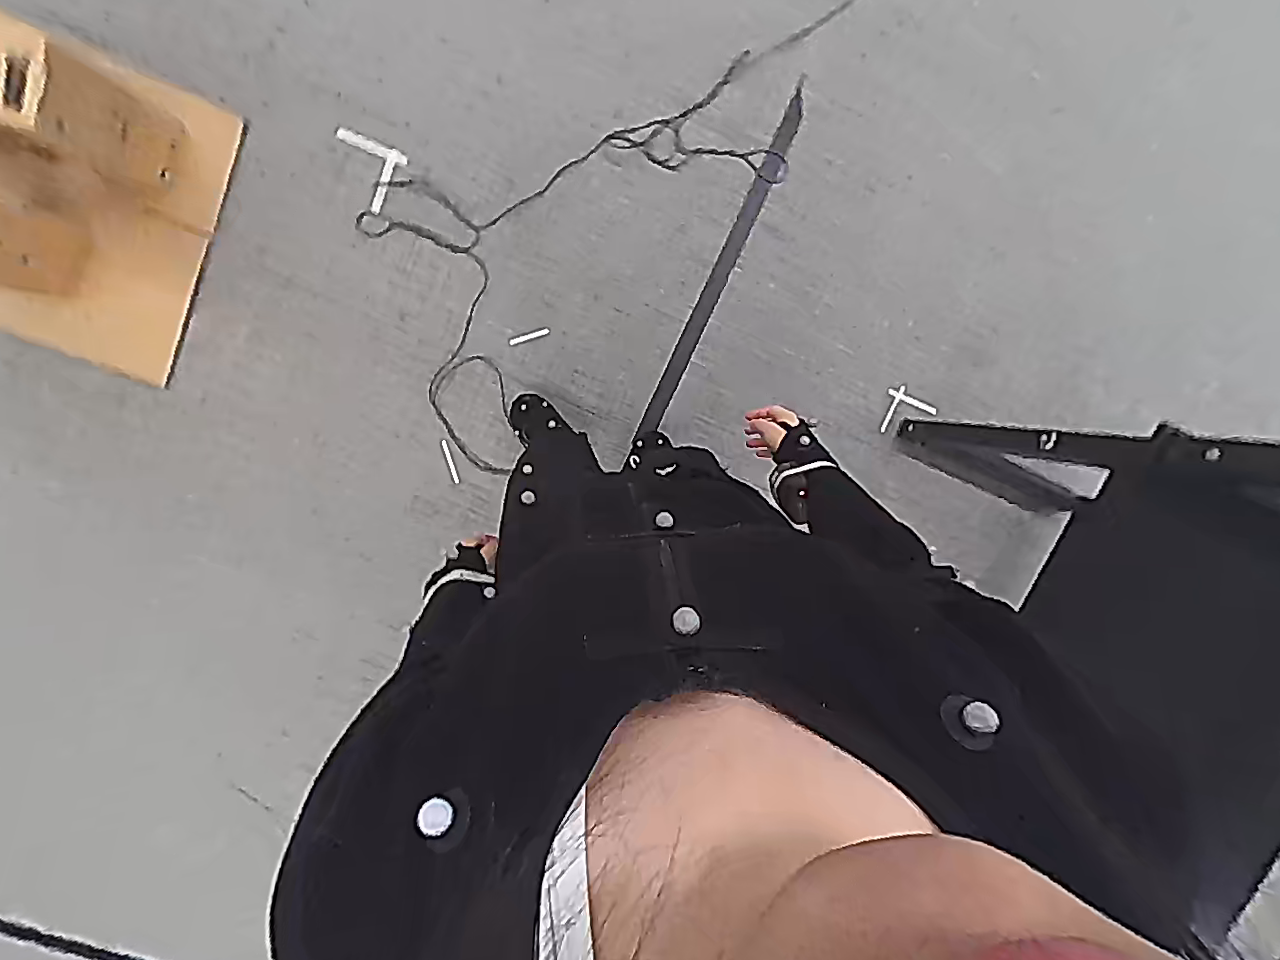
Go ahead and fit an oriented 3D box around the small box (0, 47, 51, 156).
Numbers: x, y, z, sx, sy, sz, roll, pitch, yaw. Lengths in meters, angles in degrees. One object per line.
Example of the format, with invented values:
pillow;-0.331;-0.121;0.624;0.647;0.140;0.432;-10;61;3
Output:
small box;-1.431;-0.850;1.170;0.168;0.176;0.179;18;98;-6

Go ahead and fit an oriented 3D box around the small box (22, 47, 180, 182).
small box;-1.178;-0.792;1.196;0.179;0.176;0.168;18;97;-6
